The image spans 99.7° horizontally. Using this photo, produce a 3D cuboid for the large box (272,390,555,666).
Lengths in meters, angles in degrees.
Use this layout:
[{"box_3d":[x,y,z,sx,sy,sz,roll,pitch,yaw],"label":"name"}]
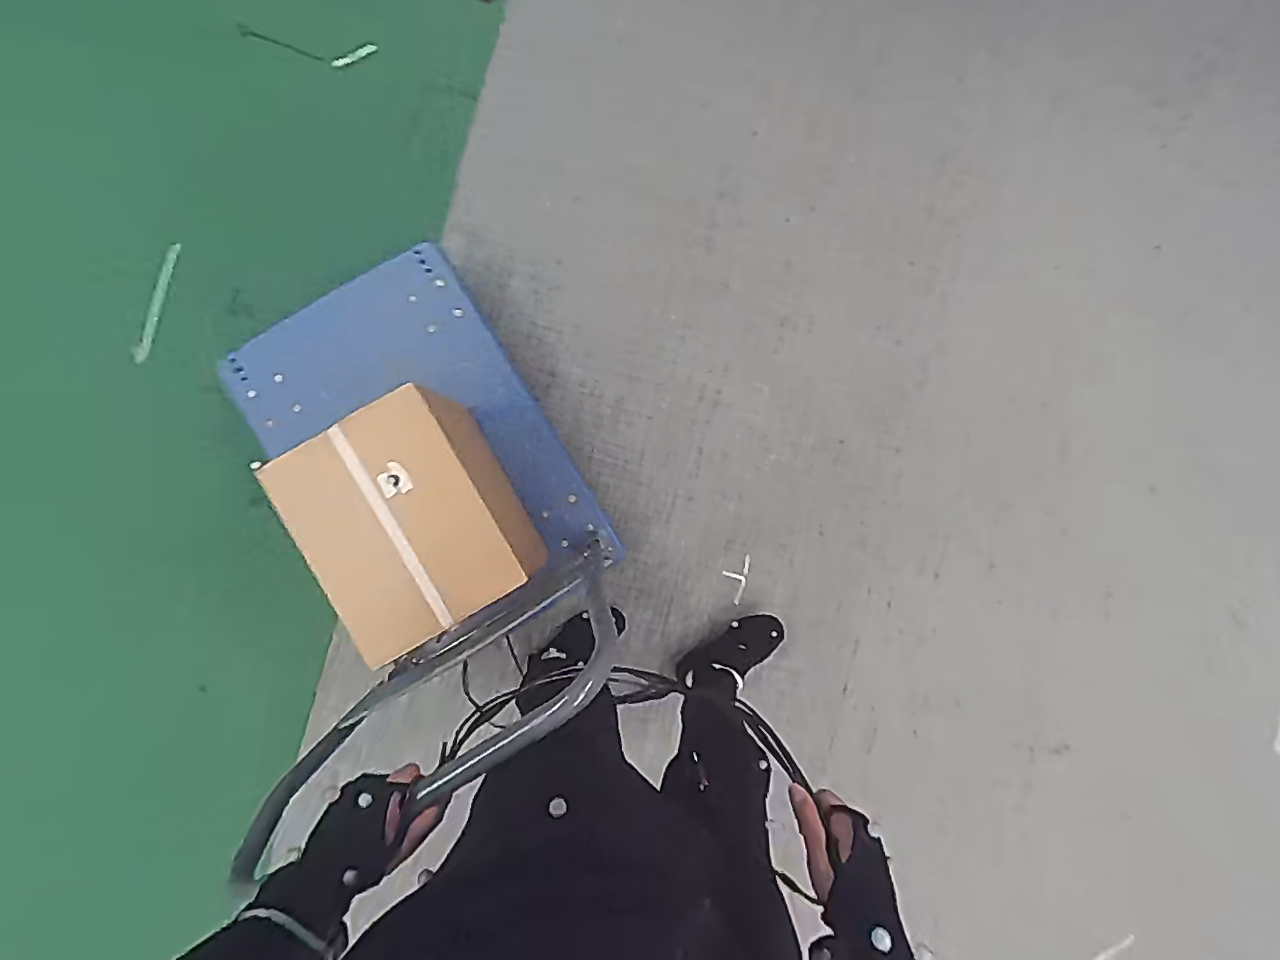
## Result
[{"box_3d":[-0.419,0.088,1.099,0.320,0.320,0.408,-30,89,-2],"label":"large box"}]
